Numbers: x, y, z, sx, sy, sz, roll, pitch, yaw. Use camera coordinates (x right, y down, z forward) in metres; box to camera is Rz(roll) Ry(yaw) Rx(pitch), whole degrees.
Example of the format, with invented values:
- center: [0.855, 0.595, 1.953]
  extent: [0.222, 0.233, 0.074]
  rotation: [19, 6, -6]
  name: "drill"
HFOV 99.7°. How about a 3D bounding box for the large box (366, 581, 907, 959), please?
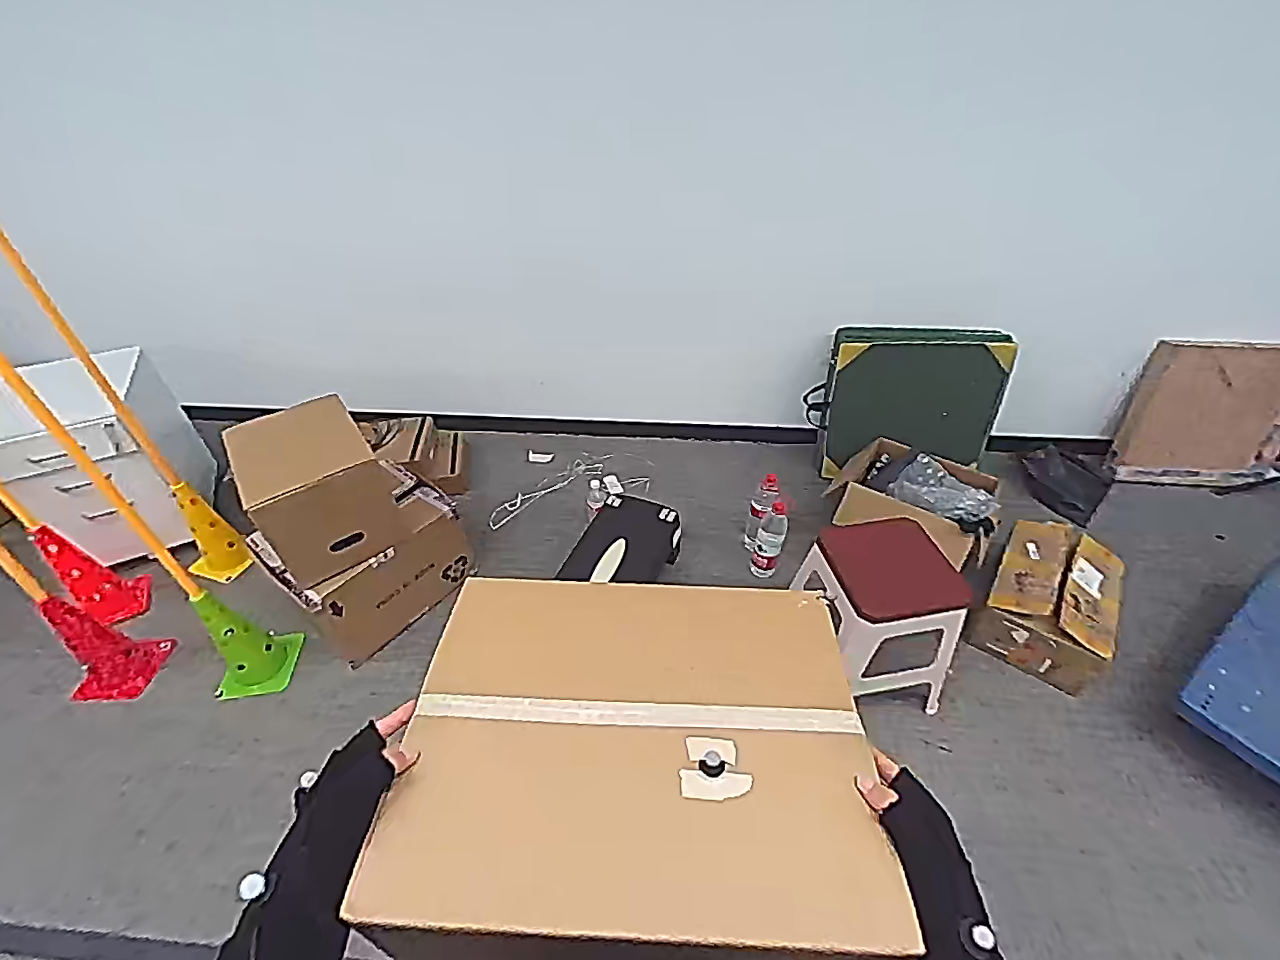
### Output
- center: [-0.002, 0.334, 0.596]
  extent: [0.408, 0.320, 0.320]
  rotation: [2, 38, 2]
  name: "large box"
